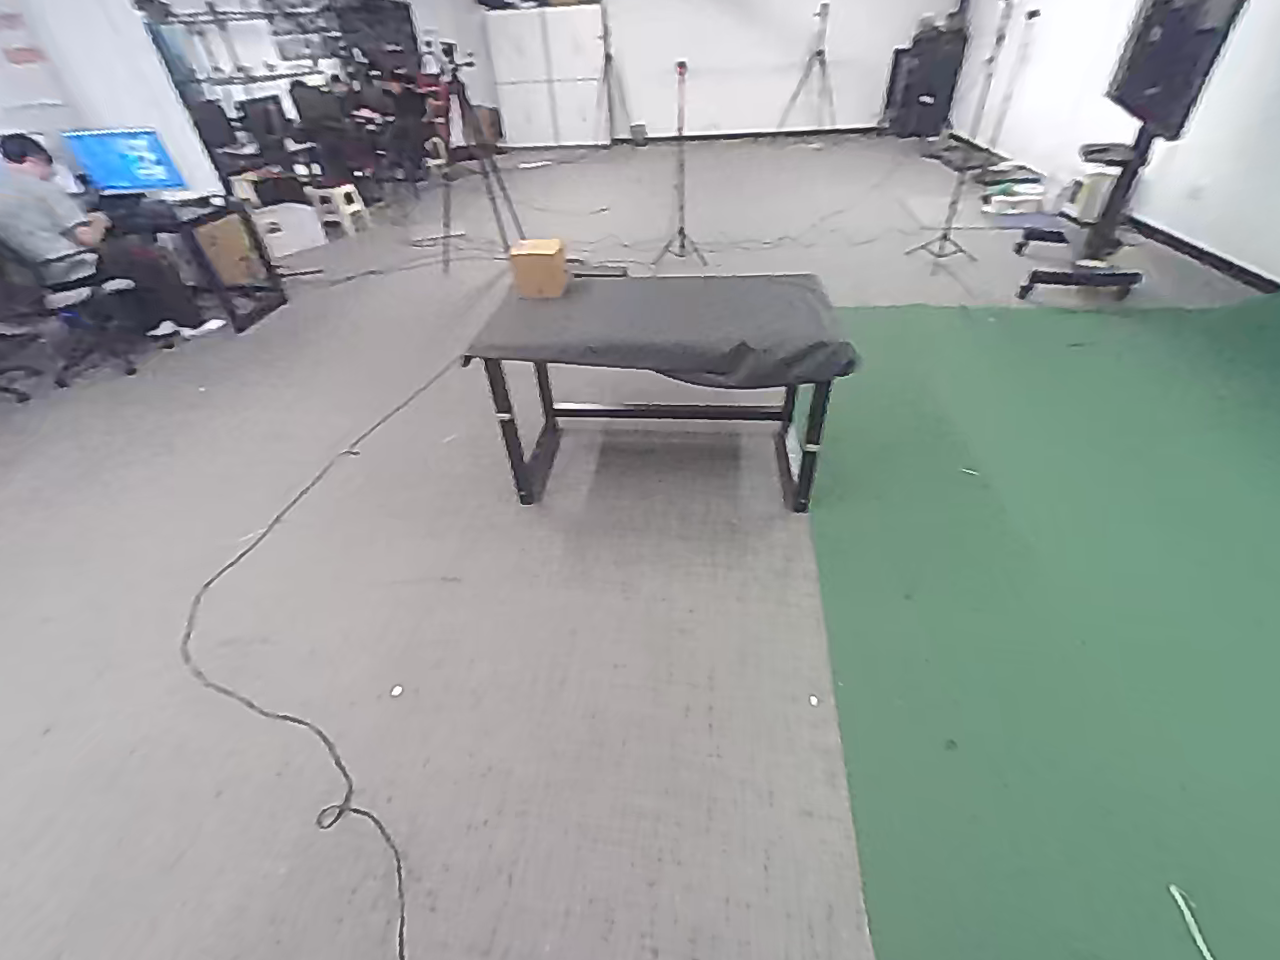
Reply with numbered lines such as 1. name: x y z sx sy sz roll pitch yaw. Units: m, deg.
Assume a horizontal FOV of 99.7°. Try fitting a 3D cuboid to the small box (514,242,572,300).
1. small box: -0.368 -0.803 2.086 0.179 0.176 0.168 2 40 5
